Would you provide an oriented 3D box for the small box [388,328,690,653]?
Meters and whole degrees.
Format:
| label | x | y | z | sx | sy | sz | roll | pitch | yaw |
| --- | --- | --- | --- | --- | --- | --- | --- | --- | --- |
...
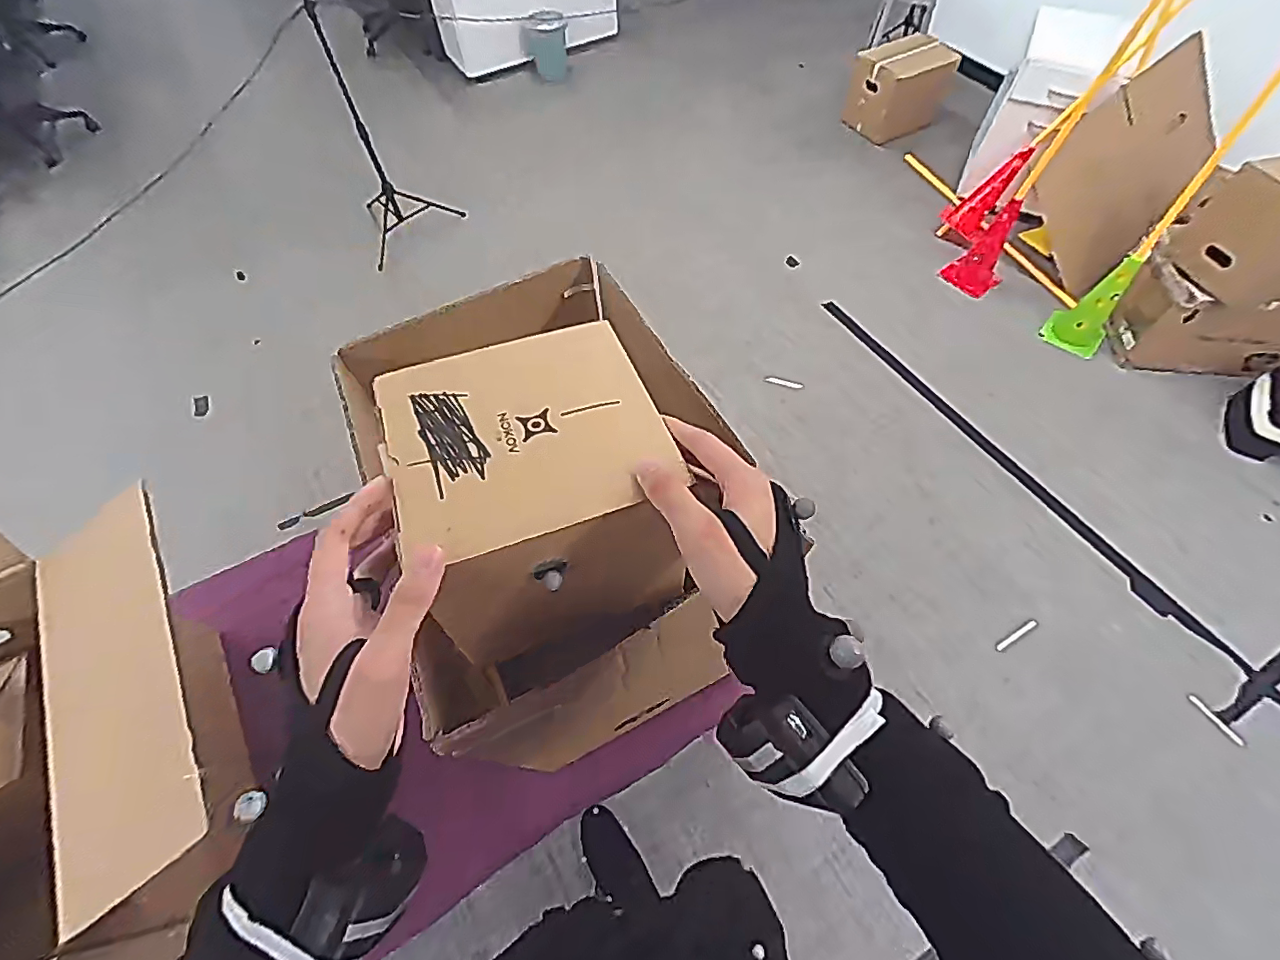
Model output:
| label | x | y | z | sx | sy | sz | roll | pitch | yaw |
| --- | --- | --- | --- | --- | --- | --- | --- | --- | --- |
| small box | -0.074 | 0.013 | 0.427 | 0.179 | 0.176 | 0.168 | -17 | 56 | -13 |
